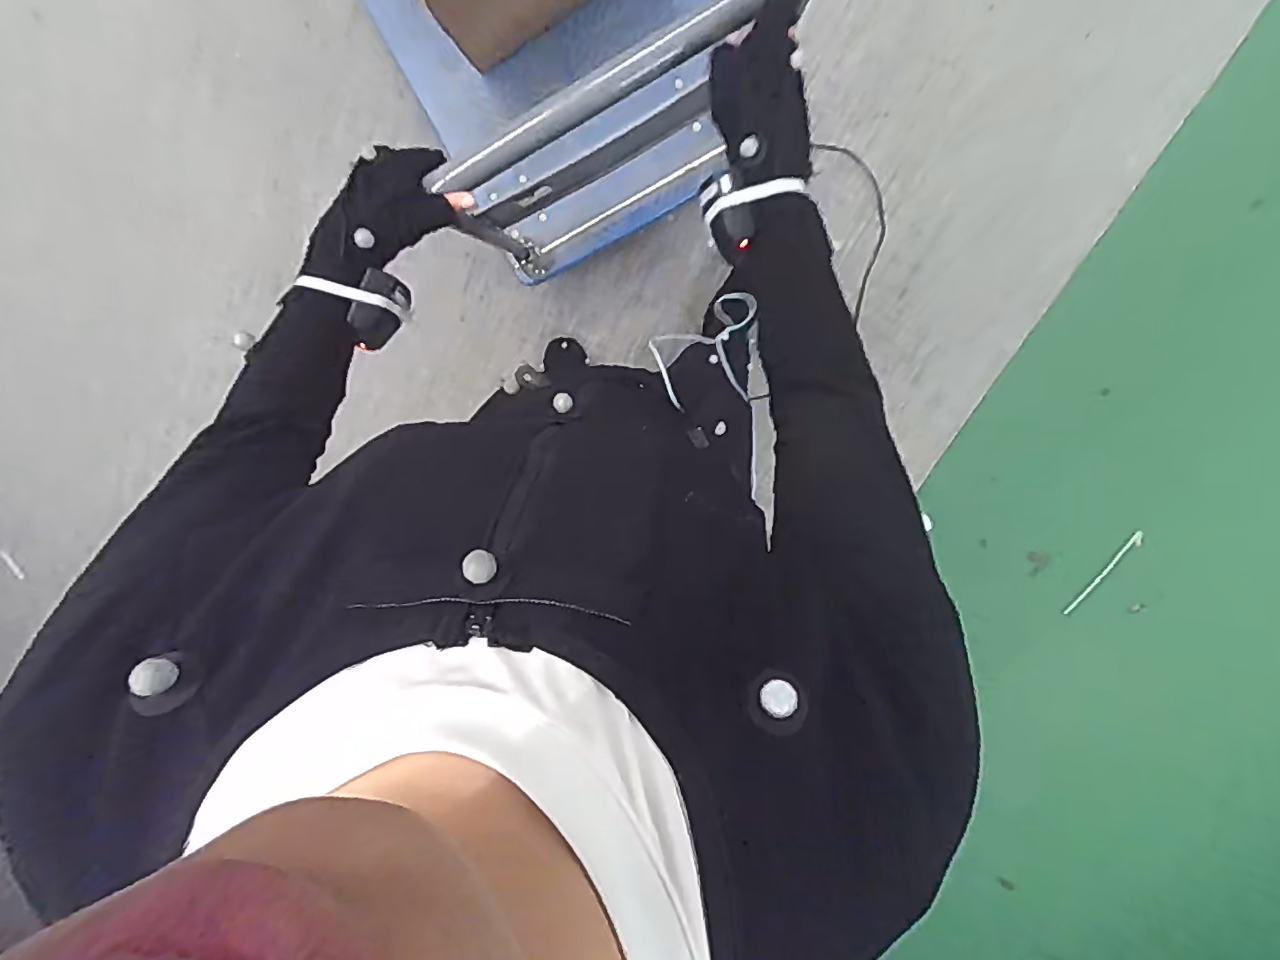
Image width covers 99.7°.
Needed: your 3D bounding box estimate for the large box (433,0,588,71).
[{"bbox_3d":[-0.191,-0.938,0.816,0.408,0.320,0.320,-29,108,11],"label":"large box"}]
